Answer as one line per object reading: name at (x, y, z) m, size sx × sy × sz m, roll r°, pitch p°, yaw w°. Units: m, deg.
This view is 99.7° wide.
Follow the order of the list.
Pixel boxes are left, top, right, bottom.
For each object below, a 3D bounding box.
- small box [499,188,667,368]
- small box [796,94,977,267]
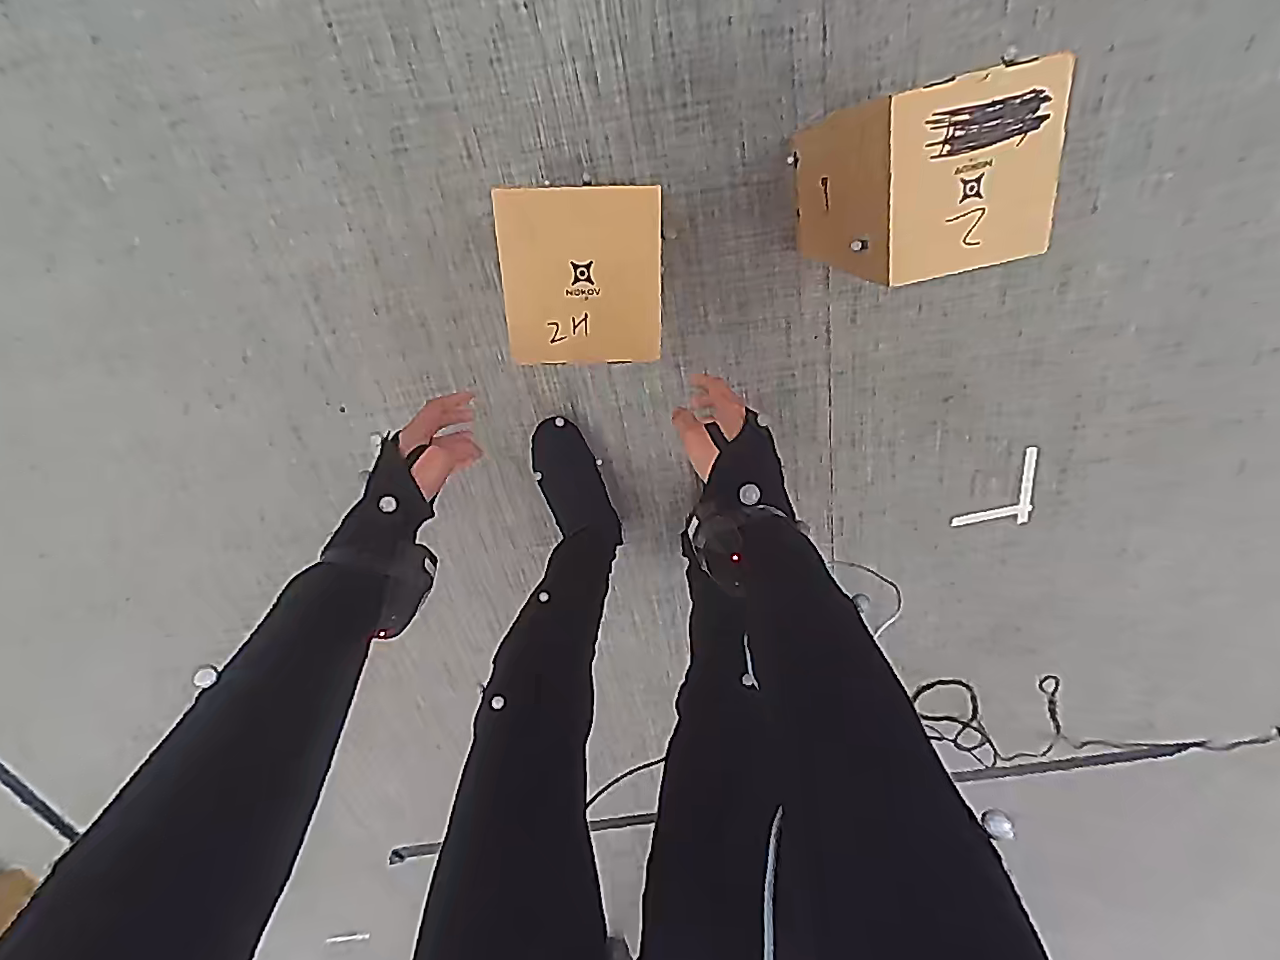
small box at (-0.059, -0.238, 0.630) m, size 0.168 × 0.176 × 0.179 m, roll -1°, pitch 118°, yaw -1°
small box at (0.321, -0.402, 0.743) m, size 0.179 × 0.176 × 0.168 m, roll -11°, pitch 118°, yaw 3°
